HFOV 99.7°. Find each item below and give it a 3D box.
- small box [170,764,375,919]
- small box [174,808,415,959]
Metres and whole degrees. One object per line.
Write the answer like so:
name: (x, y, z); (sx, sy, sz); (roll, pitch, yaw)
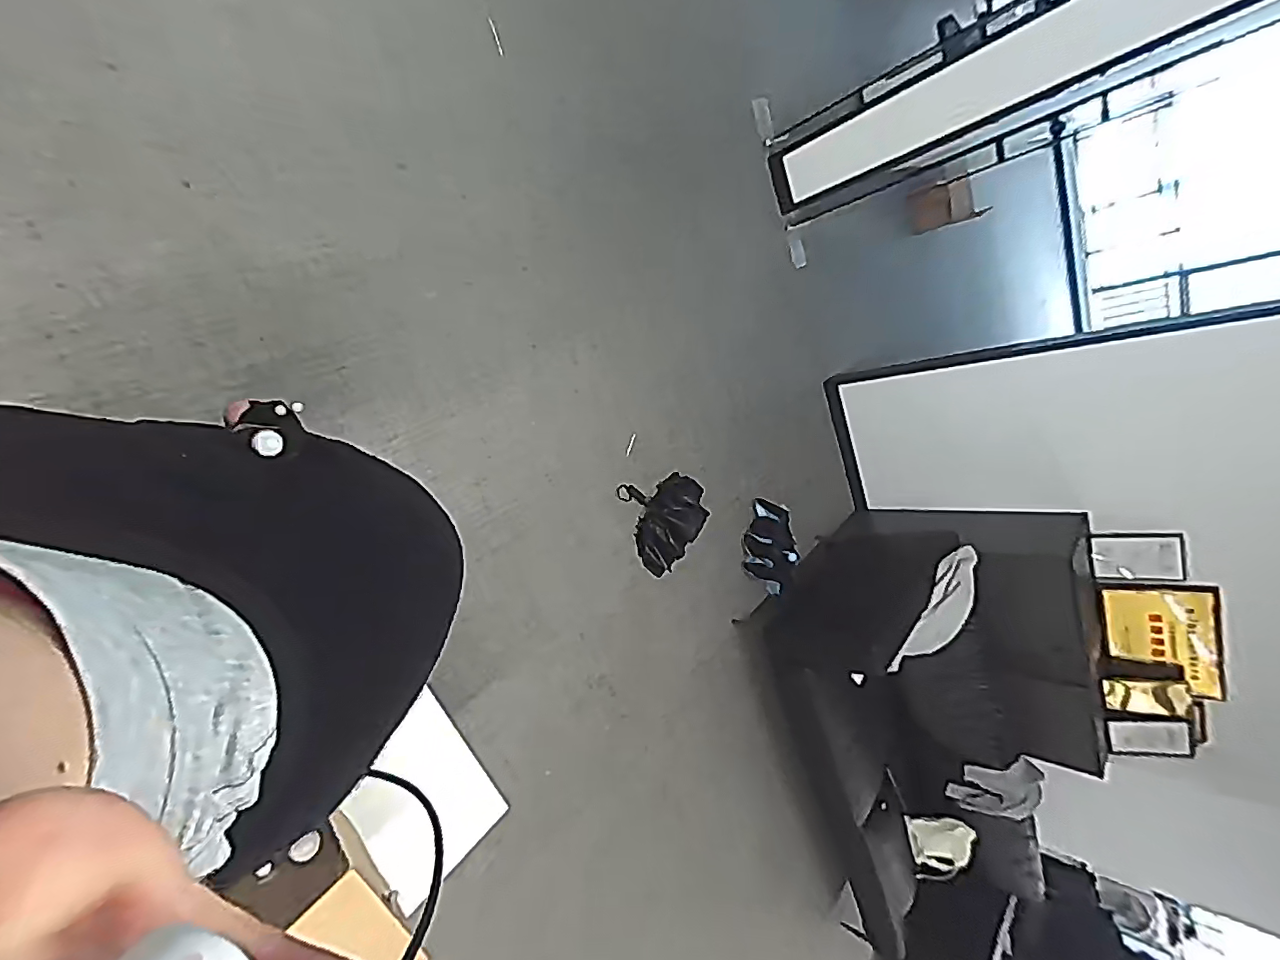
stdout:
small box: (-0.519, 0.536, 0.762); (0.168, 0.176, 0.179); (-38, 116, -35)
small box: (-0.407, 0.539, 0.641); (0.168, 0.176, 0.179); (-37, 113, -36)
